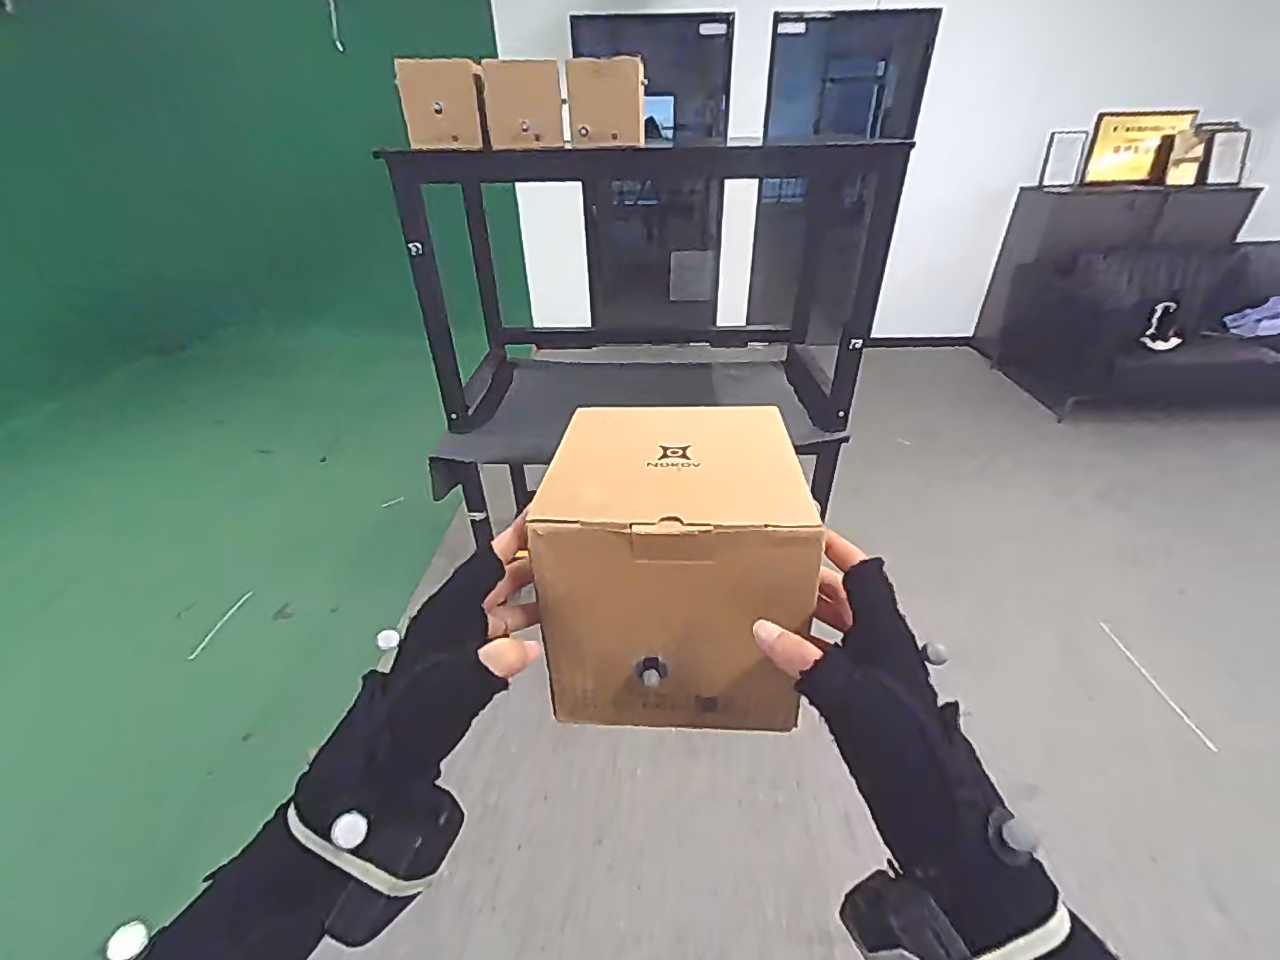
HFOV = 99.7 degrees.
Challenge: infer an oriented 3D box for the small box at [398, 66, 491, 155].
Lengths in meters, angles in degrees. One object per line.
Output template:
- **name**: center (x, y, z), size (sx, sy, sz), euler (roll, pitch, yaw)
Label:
- **small box**: center (-0.462, -0.889, 1.309), size (0.168, 0.176, 0.179), euler (-2, 32, -5)

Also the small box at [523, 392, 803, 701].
- **small box**: center (0.020, 0.040, 0.419), size (0.168, 0.176, 0.179), euler (0, 29, 5)

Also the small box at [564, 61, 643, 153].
- **small box**: center (-0.079, -0.894, 1.306), size (0.168, 0.176, 0.179), euler (1, 32, 4)
